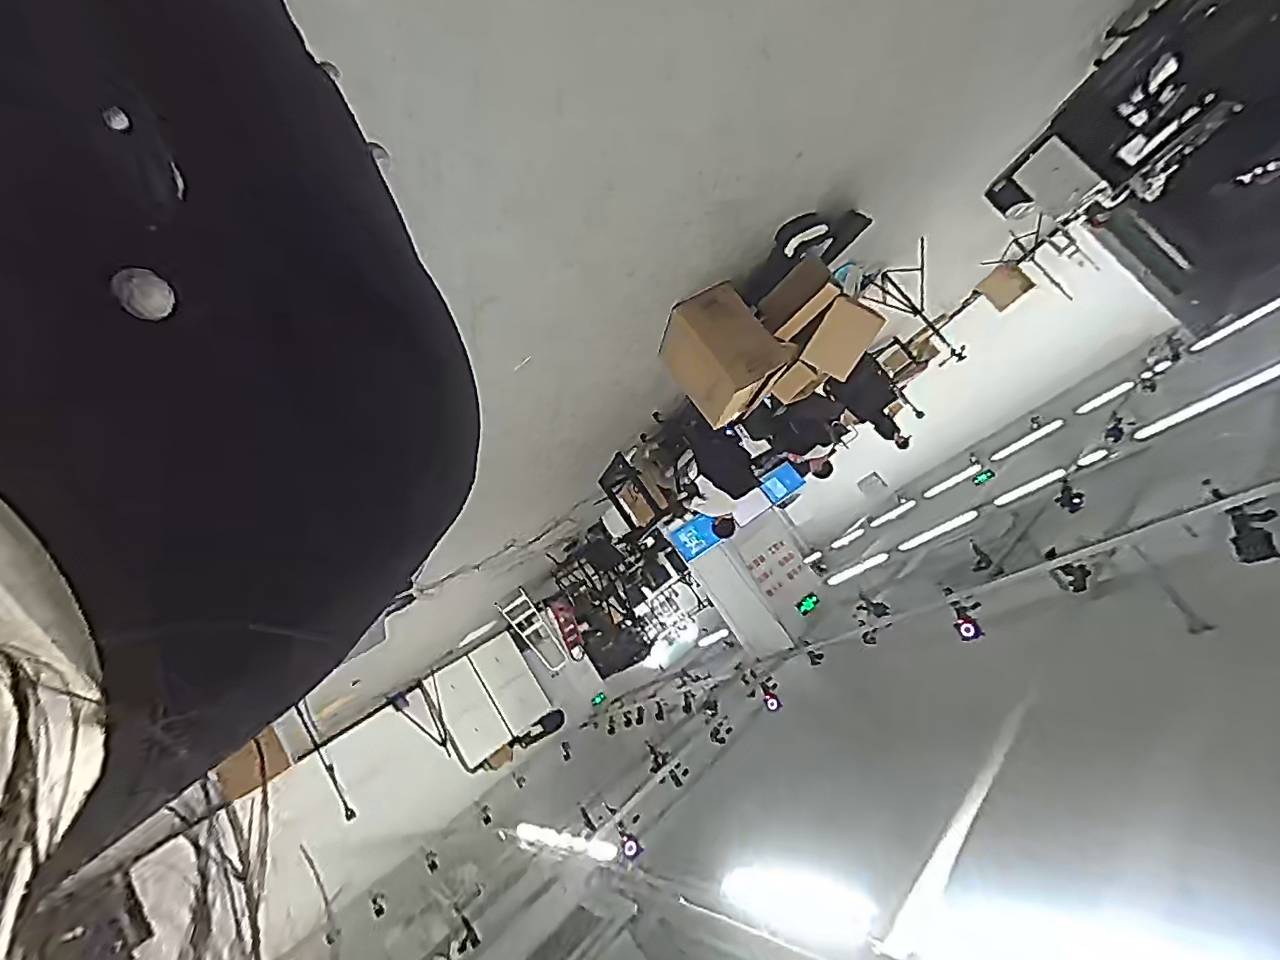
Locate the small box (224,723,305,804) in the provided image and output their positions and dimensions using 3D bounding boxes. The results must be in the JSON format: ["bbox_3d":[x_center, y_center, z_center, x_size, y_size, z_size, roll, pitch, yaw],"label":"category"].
[{"bbox_3d":[-1.257,0.949,1.809,0.179,0.176,0.168,-25,166,-36],"label":"small box"}]

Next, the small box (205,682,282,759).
[{"bbox_3d":[-1.349,0.822,1.845,0.179,0.176,0.168,-25,167,-38],"label":"small box"}]
